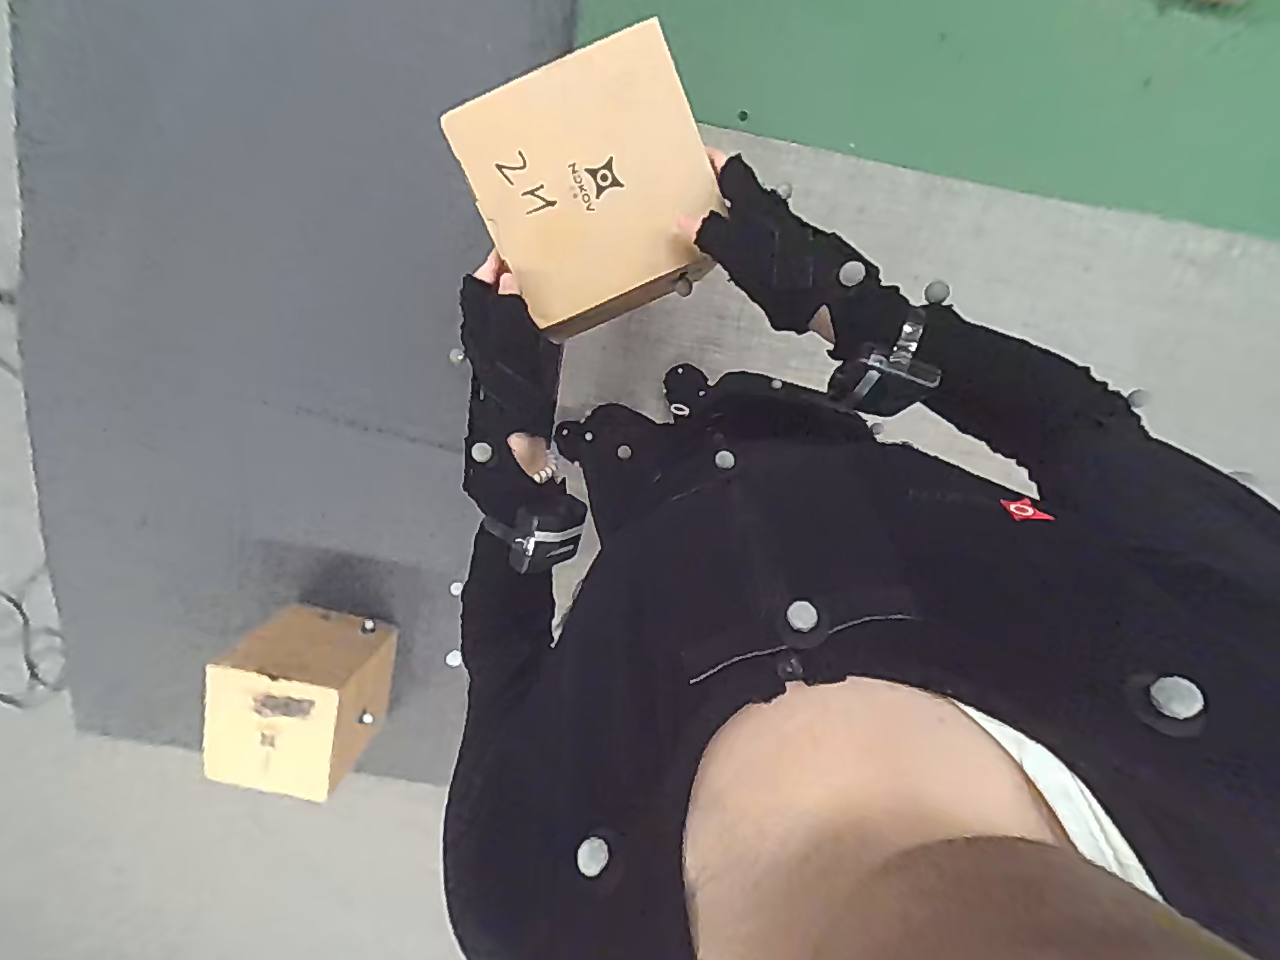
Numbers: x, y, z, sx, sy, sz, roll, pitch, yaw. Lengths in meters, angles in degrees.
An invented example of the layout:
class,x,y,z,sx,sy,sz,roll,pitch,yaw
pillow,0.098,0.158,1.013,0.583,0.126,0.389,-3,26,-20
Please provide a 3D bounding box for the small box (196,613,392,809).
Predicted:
class,x,y,z,sx,sy,sz,roll,pitch,yaw
small box,-0.471,0.311,0.759,0.168,0.176,0.179,13,103,-2

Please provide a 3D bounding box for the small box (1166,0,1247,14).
class,x,y,z,sx,sy,sz,roll,pitch,yaw
small box,1.287,-1.152,1.147,0.168,0.176,0.179,10,104,-2

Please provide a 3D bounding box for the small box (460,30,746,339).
class,x,y,z,sx,sy,sz,roll,pitch,yaw
small box,-0.030,-0.237,0.485,0.179,0.176,0.168,-22,101,1
